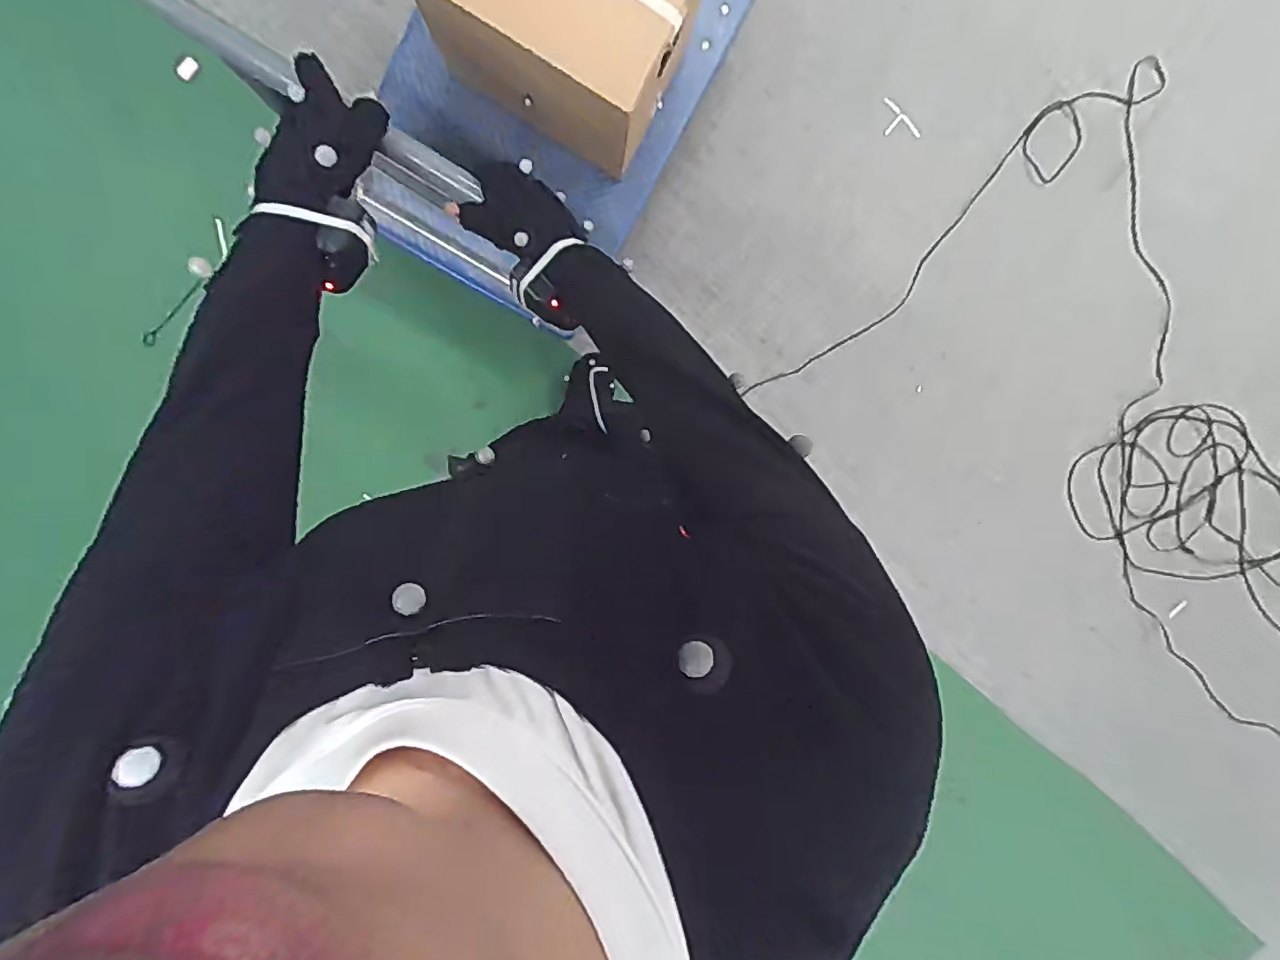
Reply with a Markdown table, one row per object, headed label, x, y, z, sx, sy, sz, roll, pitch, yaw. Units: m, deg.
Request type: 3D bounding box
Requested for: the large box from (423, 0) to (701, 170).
| label | x | y | z | sx | sy | sz | roll | pitch | yaw |
| --- | --- | --- | --- | --- | --- | --- | --- | --- | --- |
| large box | -0.124 | -0.858 | 0.983 | 0.408 | 0.320 | 0.320 | 27 | 97 | -9 |
